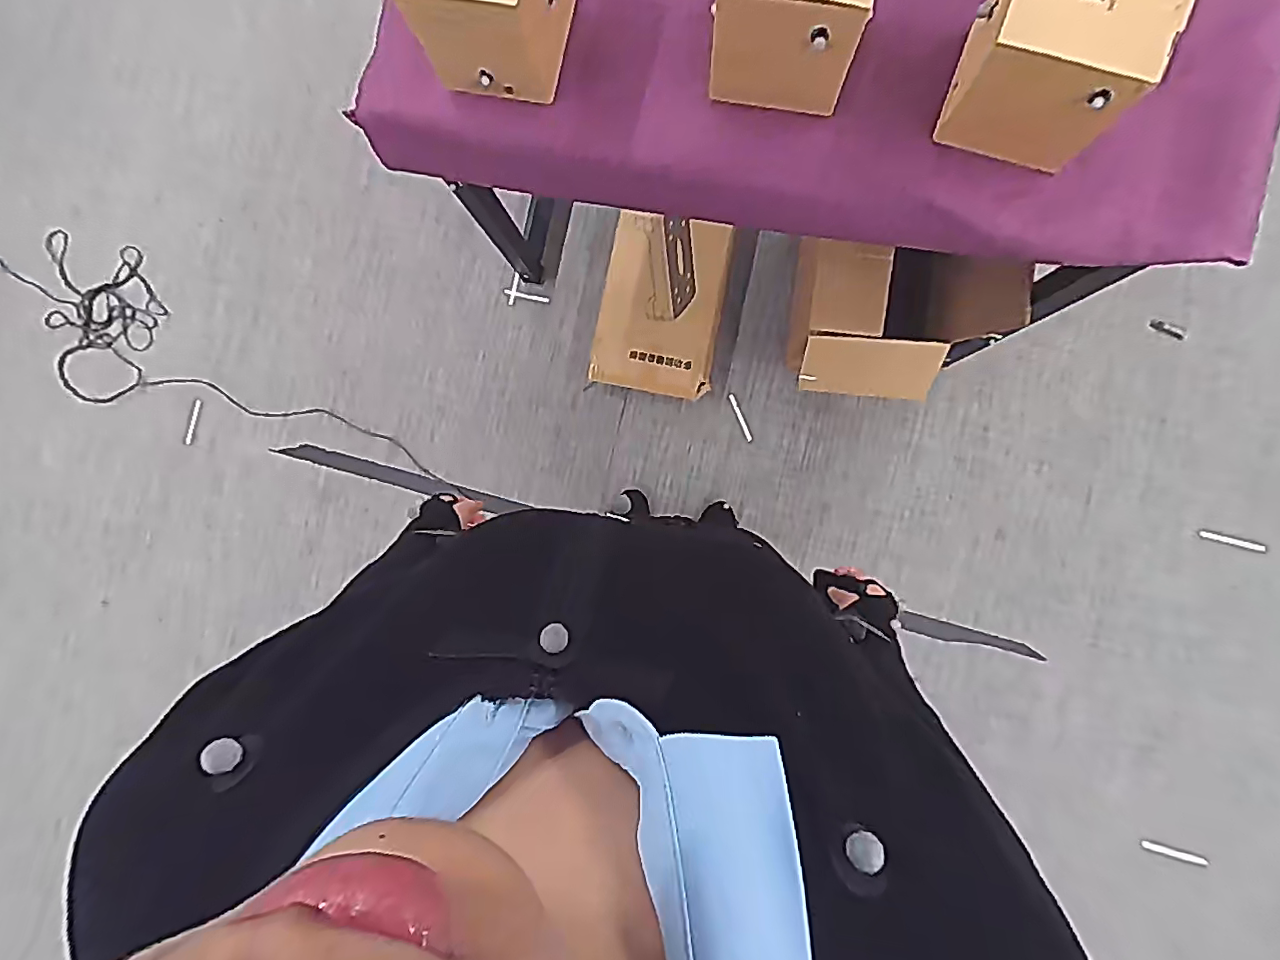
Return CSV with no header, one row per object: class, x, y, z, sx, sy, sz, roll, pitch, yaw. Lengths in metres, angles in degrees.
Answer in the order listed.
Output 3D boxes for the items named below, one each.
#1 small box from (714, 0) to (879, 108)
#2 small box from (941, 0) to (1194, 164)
small box,0.198,-0.609,0.679,0.179,0.176,0.168,12,87,5
small box,0.502,-0.520,0.651,0.179,0.176,0.168,19,91,5
